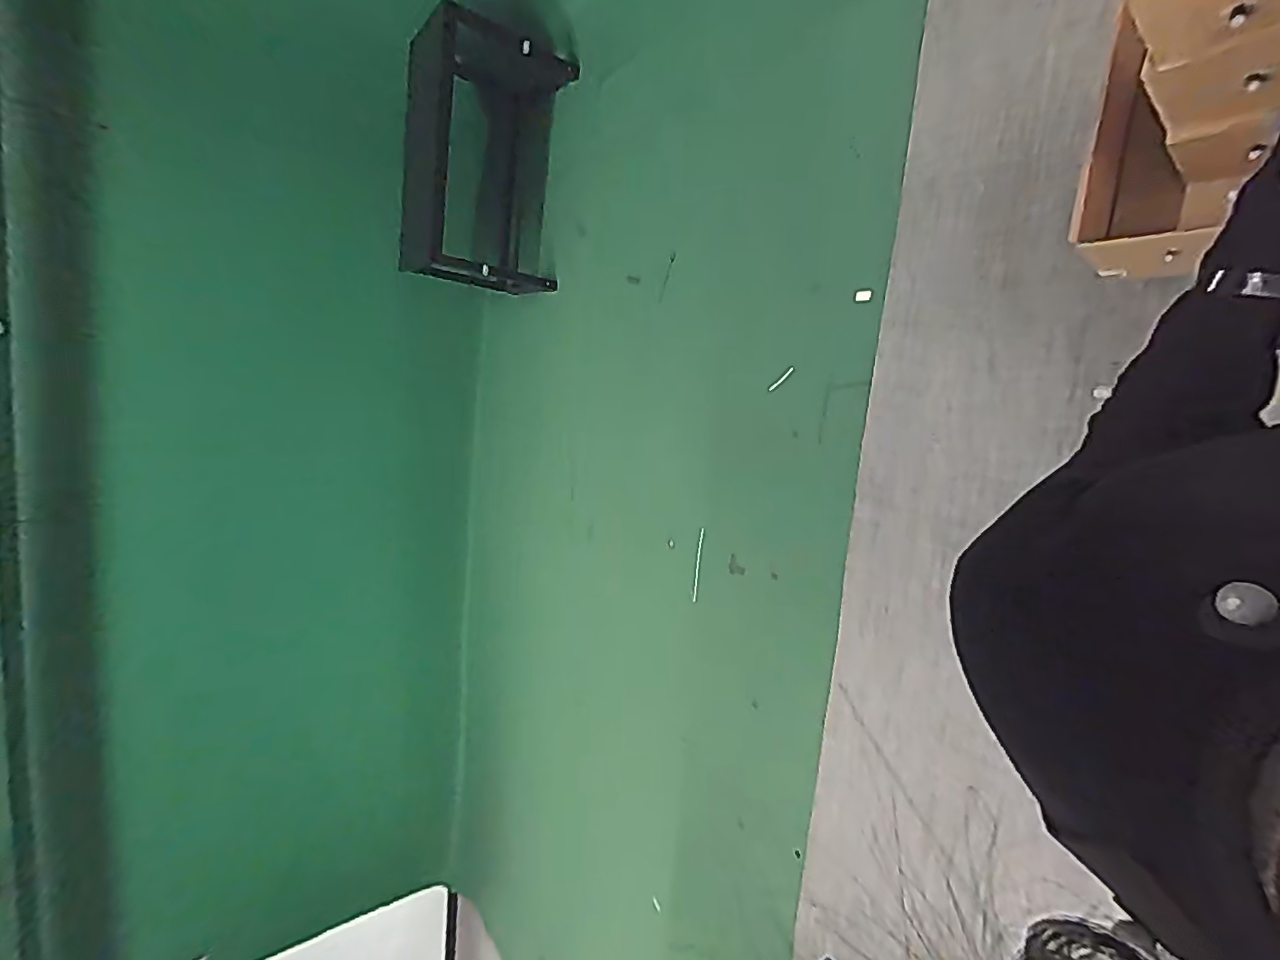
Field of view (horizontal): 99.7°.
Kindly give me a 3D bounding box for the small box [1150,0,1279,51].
[{"bbox_3d":[0.569,-0.538,0.473,0.168,0.176,0.179,13,101,52],"label":"small box"}]
